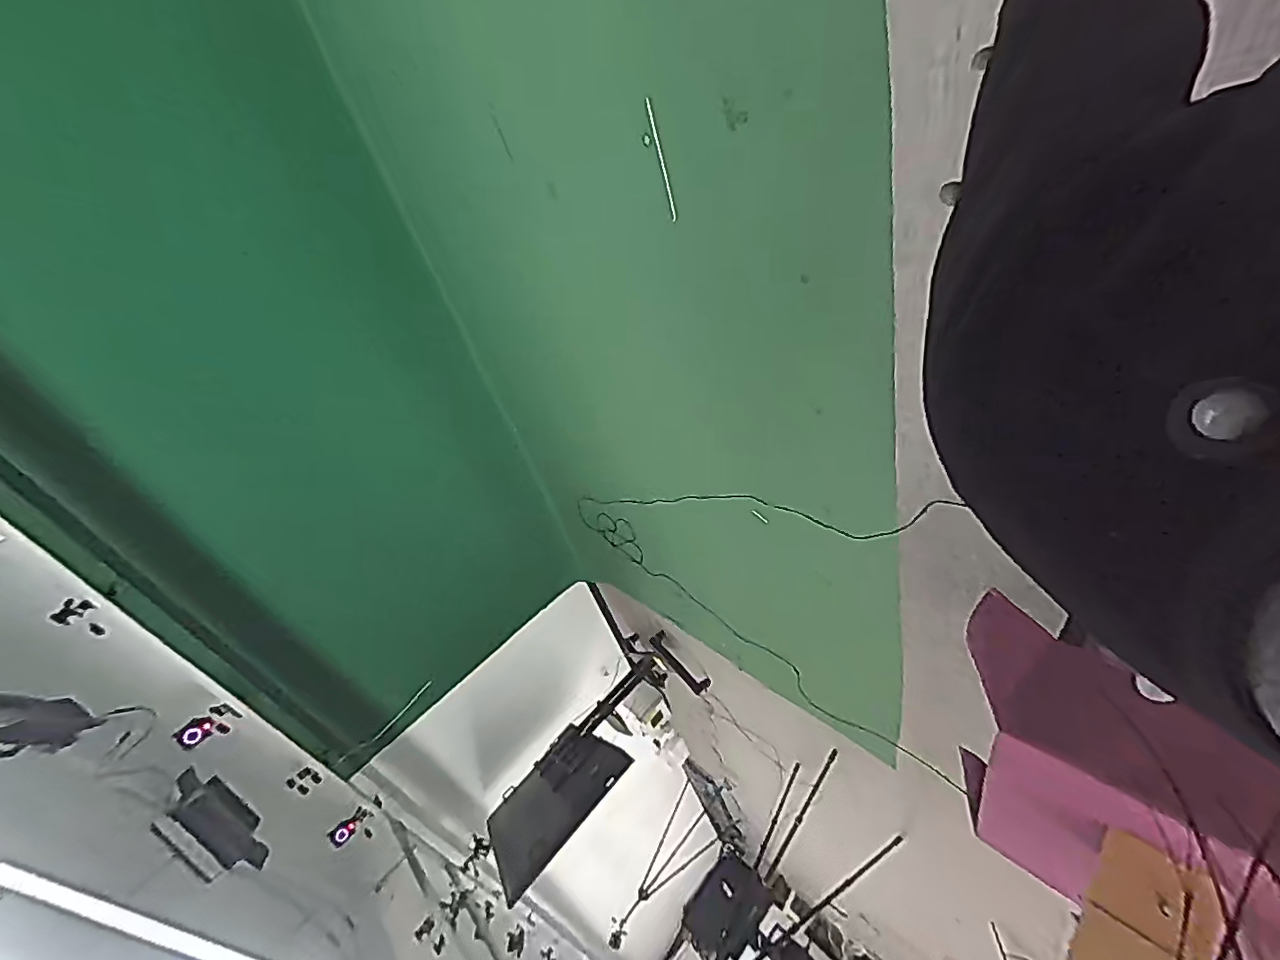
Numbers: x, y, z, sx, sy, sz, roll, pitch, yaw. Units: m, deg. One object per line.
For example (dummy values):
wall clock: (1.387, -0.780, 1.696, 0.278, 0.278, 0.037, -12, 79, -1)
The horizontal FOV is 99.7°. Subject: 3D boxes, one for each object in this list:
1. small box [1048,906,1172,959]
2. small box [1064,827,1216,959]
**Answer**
small box: (0.851, 0.919, 0.974, 0.179, 0.176, 0.168, 21, 142, 44)
small box: (0.966, 0.828, 1.049, 0.179, 0.176, 0.168, 20, 140, 45)
